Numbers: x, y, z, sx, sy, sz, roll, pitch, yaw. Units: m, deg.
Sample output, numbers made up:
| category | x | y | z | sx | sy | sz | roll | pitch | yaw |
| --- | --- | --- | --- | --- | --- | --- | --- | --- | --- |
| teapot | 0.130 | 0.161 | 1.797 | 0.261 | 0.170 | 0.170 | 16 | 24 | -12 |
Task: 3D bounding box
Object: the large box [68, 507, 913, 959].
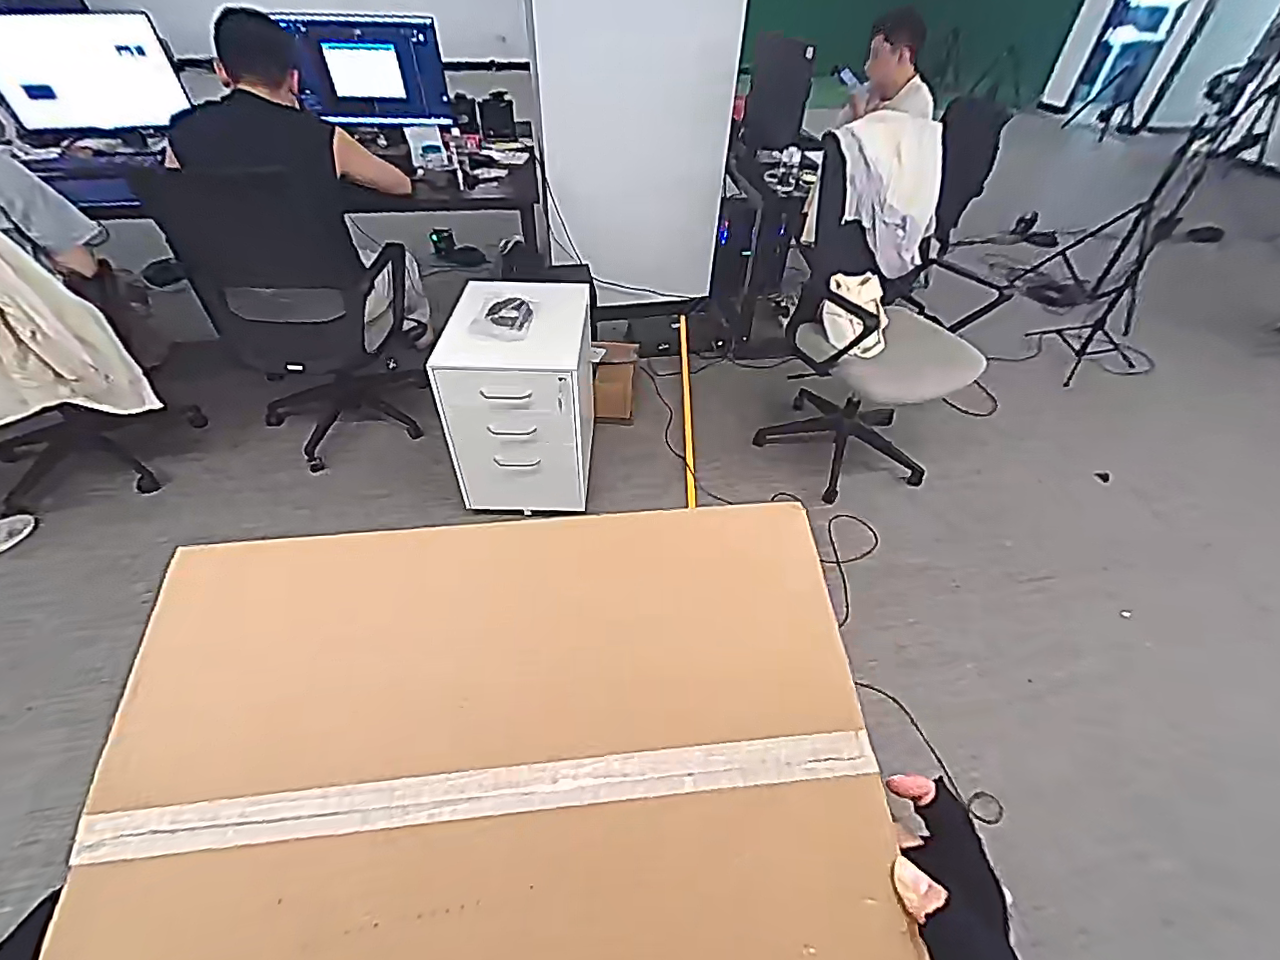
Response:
| category | x | y | z | sx | sy | sz | roll | pitch | yaw |
| --- | --- | --- | --- | --- | --- | --- | --- | --- | --- |
| large box | -0.079 | 0.241 | 0.421 | 0.408 | 0.320 | 0.320 | -4 | 61 | -4 |
